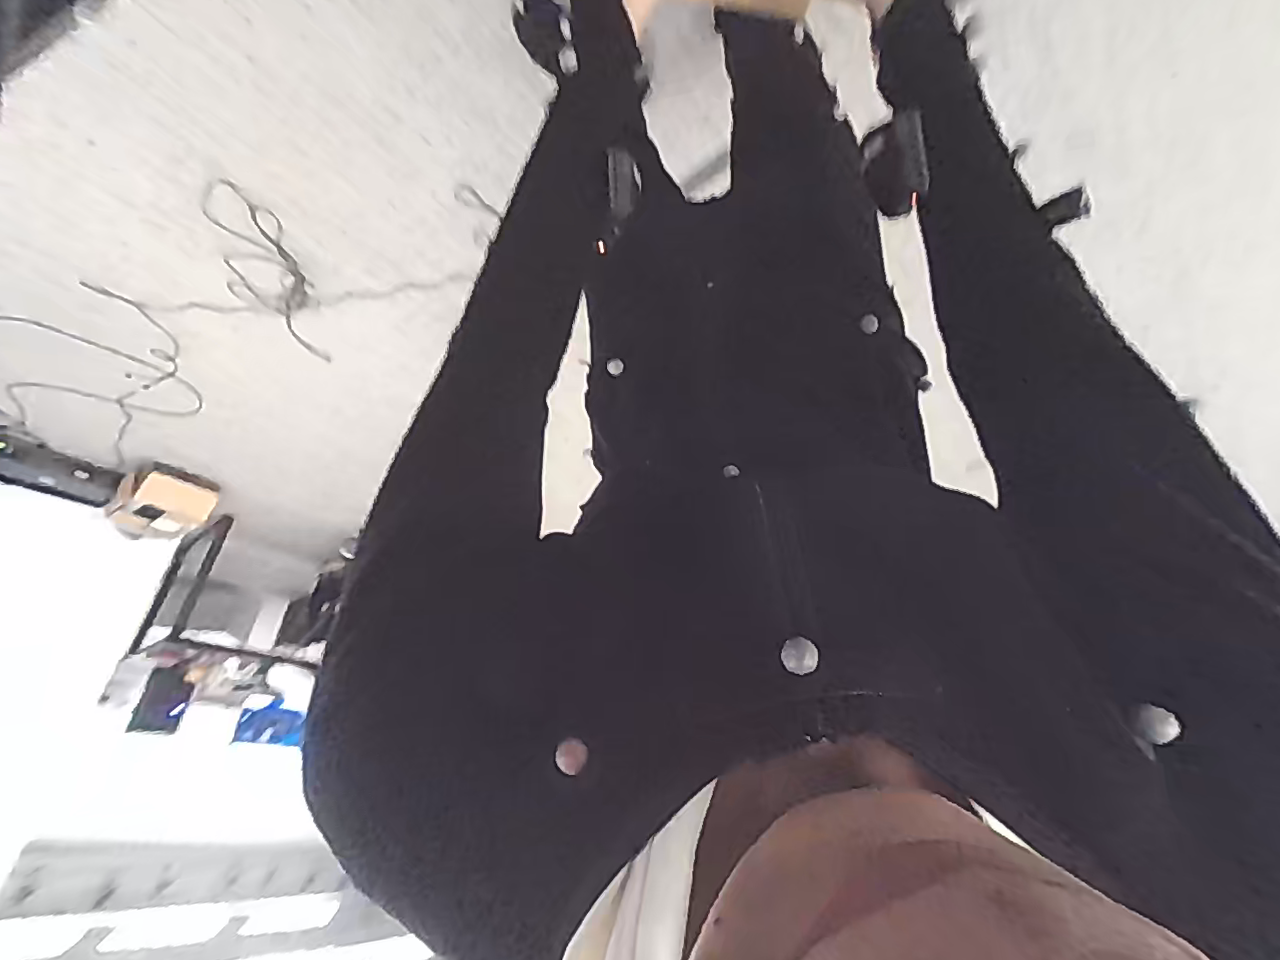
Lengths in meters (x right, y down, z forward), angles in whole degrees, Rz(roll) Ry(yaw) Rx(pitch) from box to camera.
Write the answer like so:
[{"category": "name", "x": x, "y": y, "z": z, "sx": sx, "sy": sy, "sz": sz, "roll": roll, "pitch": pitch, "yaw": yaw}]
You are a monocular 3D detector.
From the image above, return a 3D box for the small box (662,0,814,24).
[{"category": "small box", "x": 0.075, "y": -0.525, "z": 0.447, "sx": 0.179, "sy": 0.176, "sz": 0.168, "roll": 4, "pitch": 149, "yaw": -7}]
